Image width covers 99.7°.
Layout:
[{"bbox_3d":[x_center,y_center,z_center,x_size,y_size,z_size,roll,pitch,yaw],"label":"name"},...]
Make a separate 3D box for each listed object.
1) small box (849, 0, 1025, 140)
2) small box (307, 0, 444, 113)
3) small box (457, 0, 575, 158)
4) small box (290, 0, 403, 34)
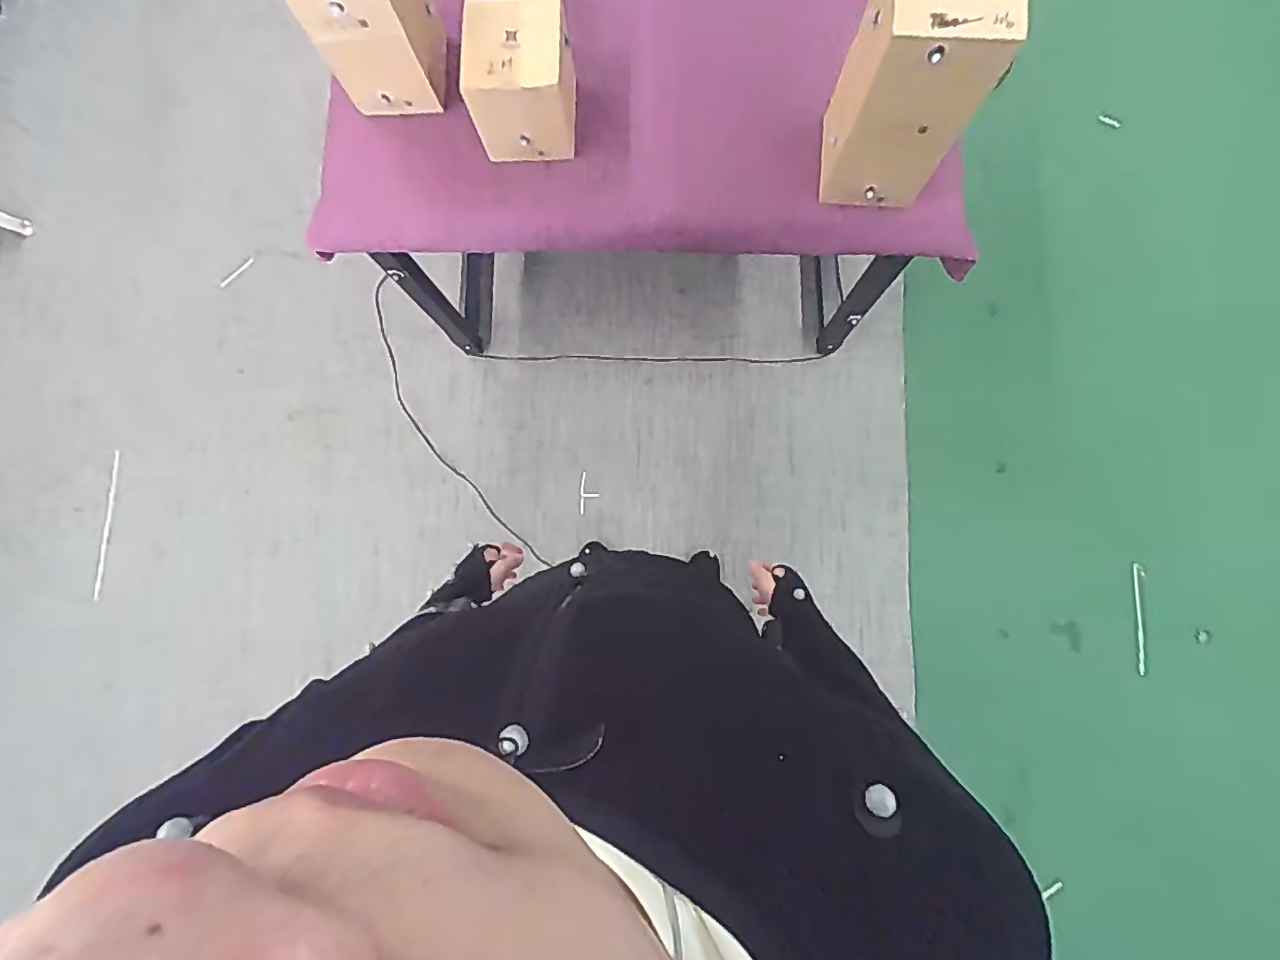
[{"bbox_3d":[0.407,-0.626,0.764,0.168,0.176,0.179,5,81,4],"label":"small box"},{"bbox_3d":[-0.473,-0.817,0.990,0.168,0.176,0.179,-1,83,2],"label":"small box"},{"bbox_3d":[-0.212,-0.714,0.966,0.168,0.176,0.179,0,83,3],"label":"small box"},{"bbox_3d":[-0.478,-0.839,0.828,0.168,0.176,0.179,-2,83,3],"label":"small box"}]
